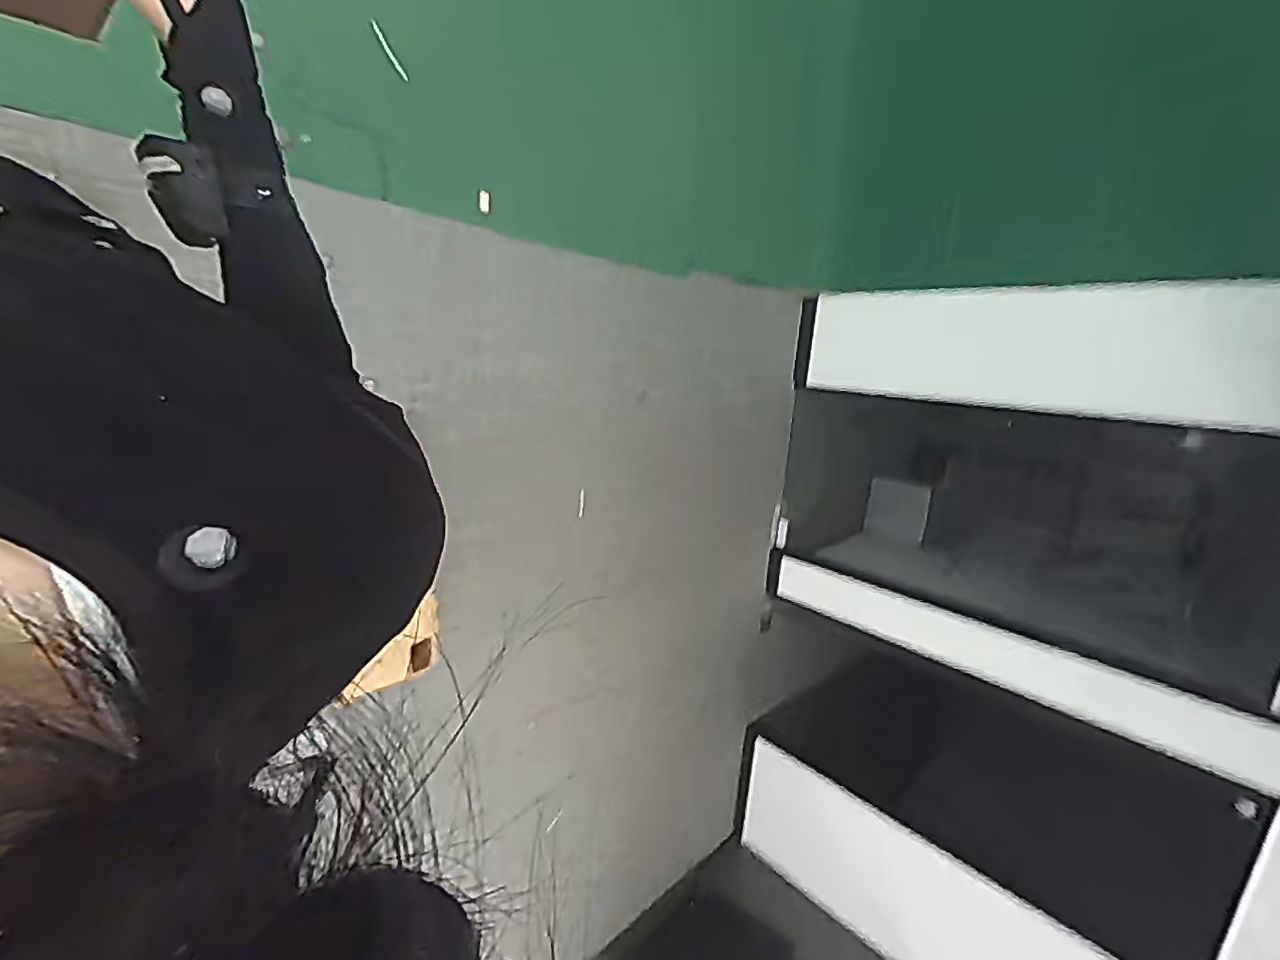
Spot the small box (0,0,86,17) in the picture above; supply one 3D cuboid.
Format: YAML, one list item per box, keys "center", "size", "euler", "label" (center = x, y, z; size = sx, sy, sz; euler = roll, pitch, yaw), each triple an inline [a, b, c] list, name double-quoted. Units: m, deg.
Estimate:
- center: [-0.433, -0.398, 0.295]
  size: [0.179, 0.176, 0.168]
  euler: [-14, 118, -46]
  label: "small box"
